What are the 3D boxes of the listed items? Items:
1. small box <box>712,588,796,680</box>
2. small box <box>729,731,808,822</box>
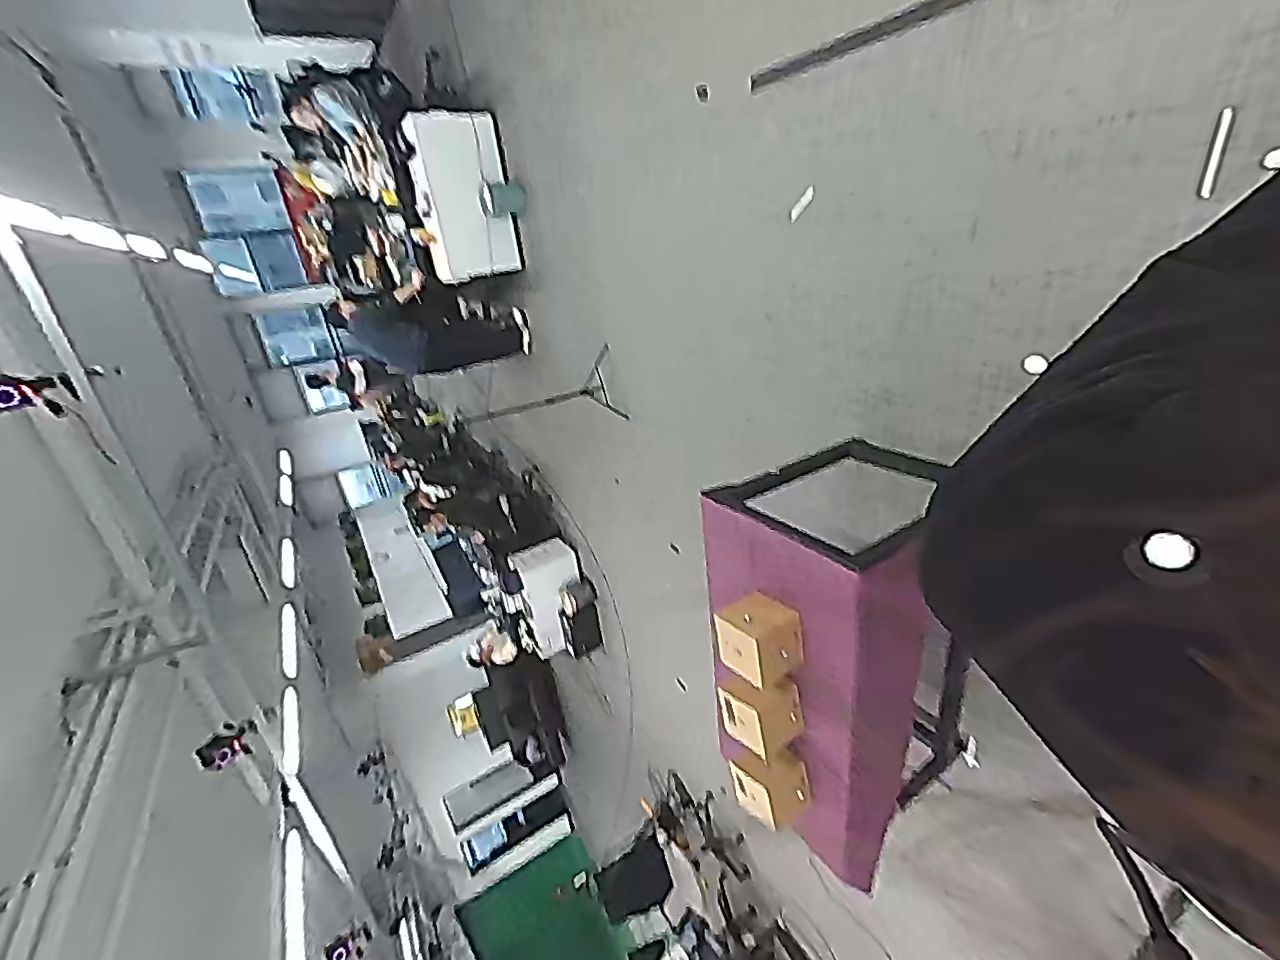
[{"bbox_3d":[0.337,0.437,1.566,0.179,0.176,0.168,21,126,56],"label":"small box"},{"bbox_3d":[0.422,0.963,1.777,0.179,0.176,0.168,8,116,59],"label":"small box"}]
